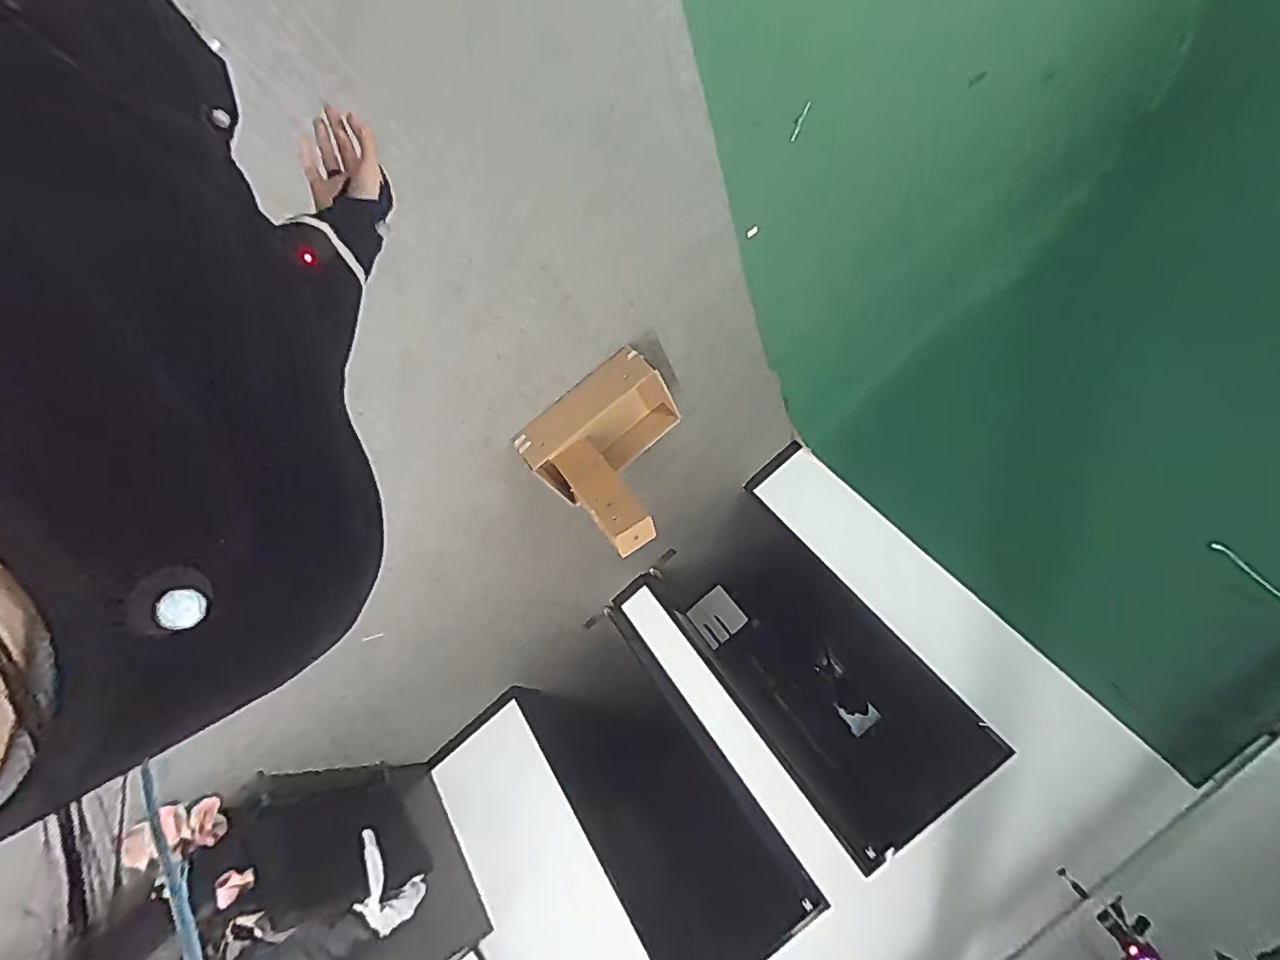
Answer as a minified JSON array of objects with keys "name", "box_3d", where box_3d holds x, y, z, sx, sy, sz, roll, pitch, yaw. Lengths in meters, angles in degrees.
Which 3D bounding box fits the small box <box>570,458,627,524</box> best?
[{"name":"small box","box_3d":[-0.160,0.043,2.204,0.179,0.176,0.168,-34,148,-10]}]

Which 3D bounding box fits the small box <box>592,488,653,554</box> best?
[{"name":"small box","box_3d":[-0.071,0.153,2.122,0.168,0.176,0.179,-31,148,-11]}]
